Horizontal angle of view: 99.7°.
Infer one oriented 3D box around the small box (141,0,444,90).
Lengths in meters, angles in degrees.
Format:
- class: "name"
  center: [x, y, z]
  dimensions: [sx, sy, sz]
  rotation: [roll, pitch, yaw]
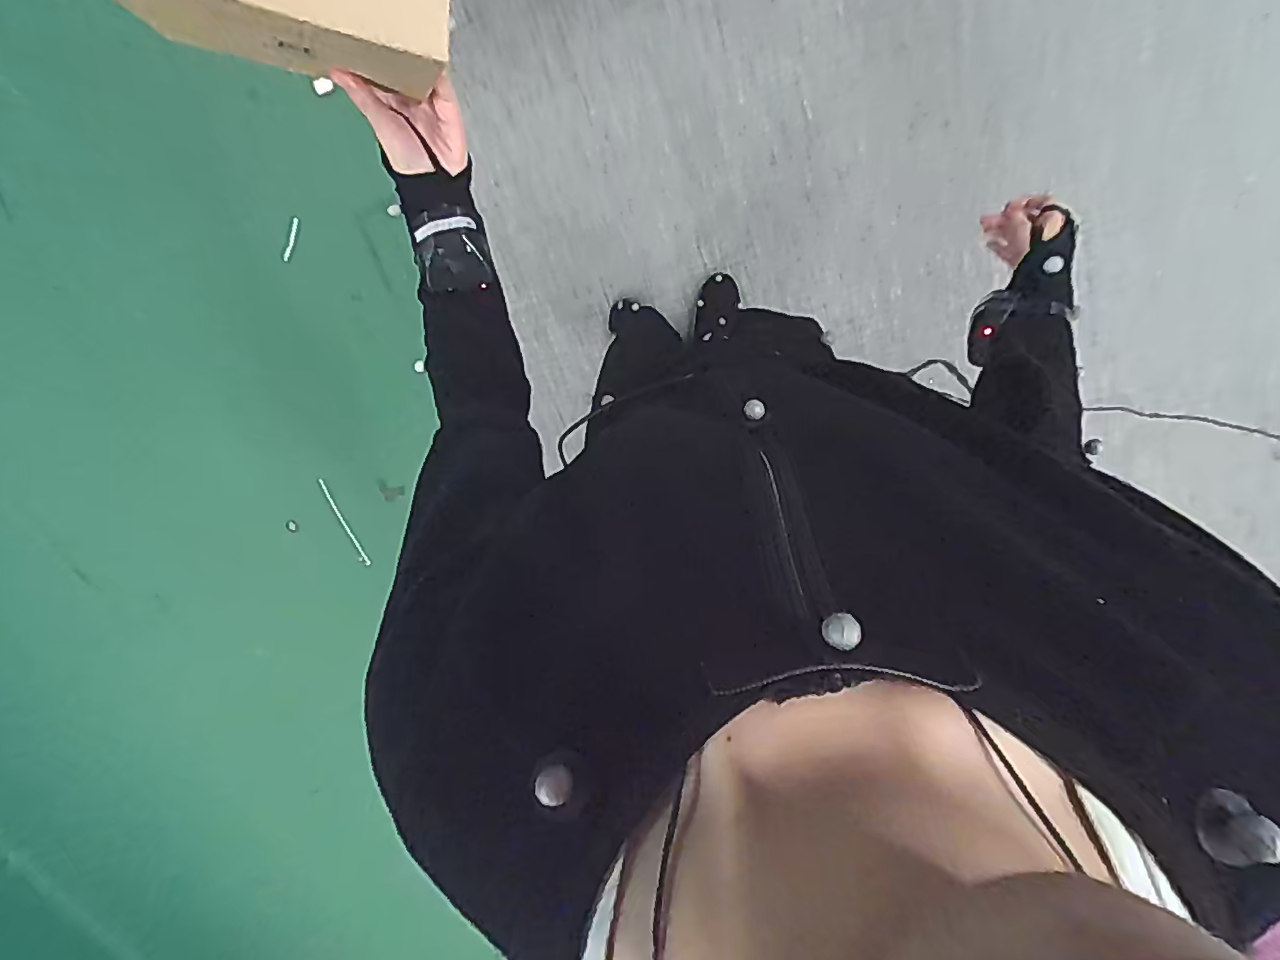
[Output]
- class: "small box"
  center: [-0.201, -0.353, 0.299]
  dimensions: [0.168, 0.179, 0.176]
  rotation: [-2, 115, -28]
